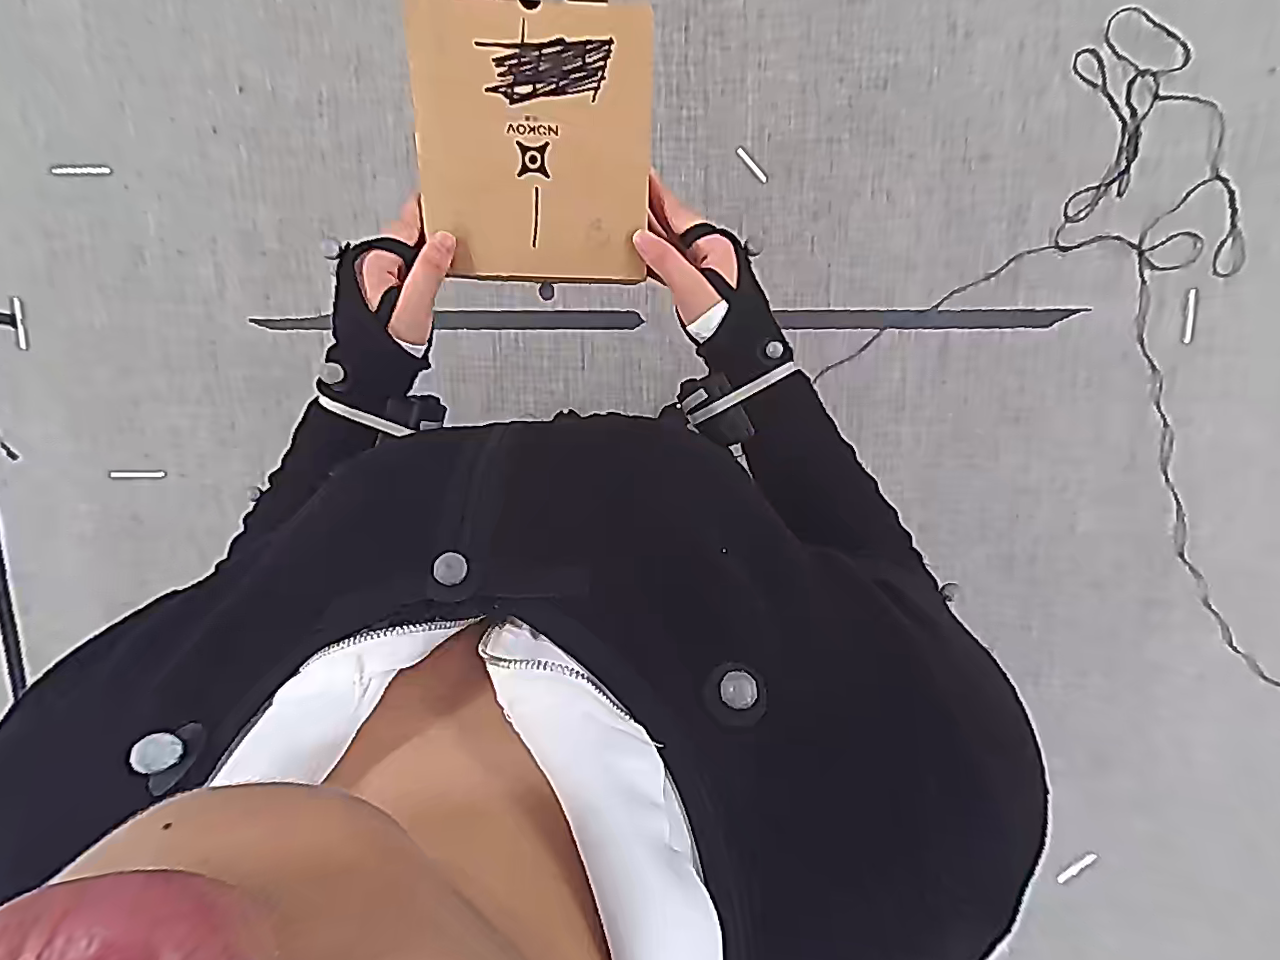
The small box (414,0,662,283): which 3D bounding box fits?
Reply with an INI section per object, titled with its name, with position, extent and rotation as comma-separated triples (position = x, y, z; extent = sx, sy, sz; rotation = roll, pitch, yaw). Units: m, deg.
[small box]
position = -0.076, -0.265, 0.457
extent = 0.168, 0.176, 0.179
rotation = 1, 109, -4
